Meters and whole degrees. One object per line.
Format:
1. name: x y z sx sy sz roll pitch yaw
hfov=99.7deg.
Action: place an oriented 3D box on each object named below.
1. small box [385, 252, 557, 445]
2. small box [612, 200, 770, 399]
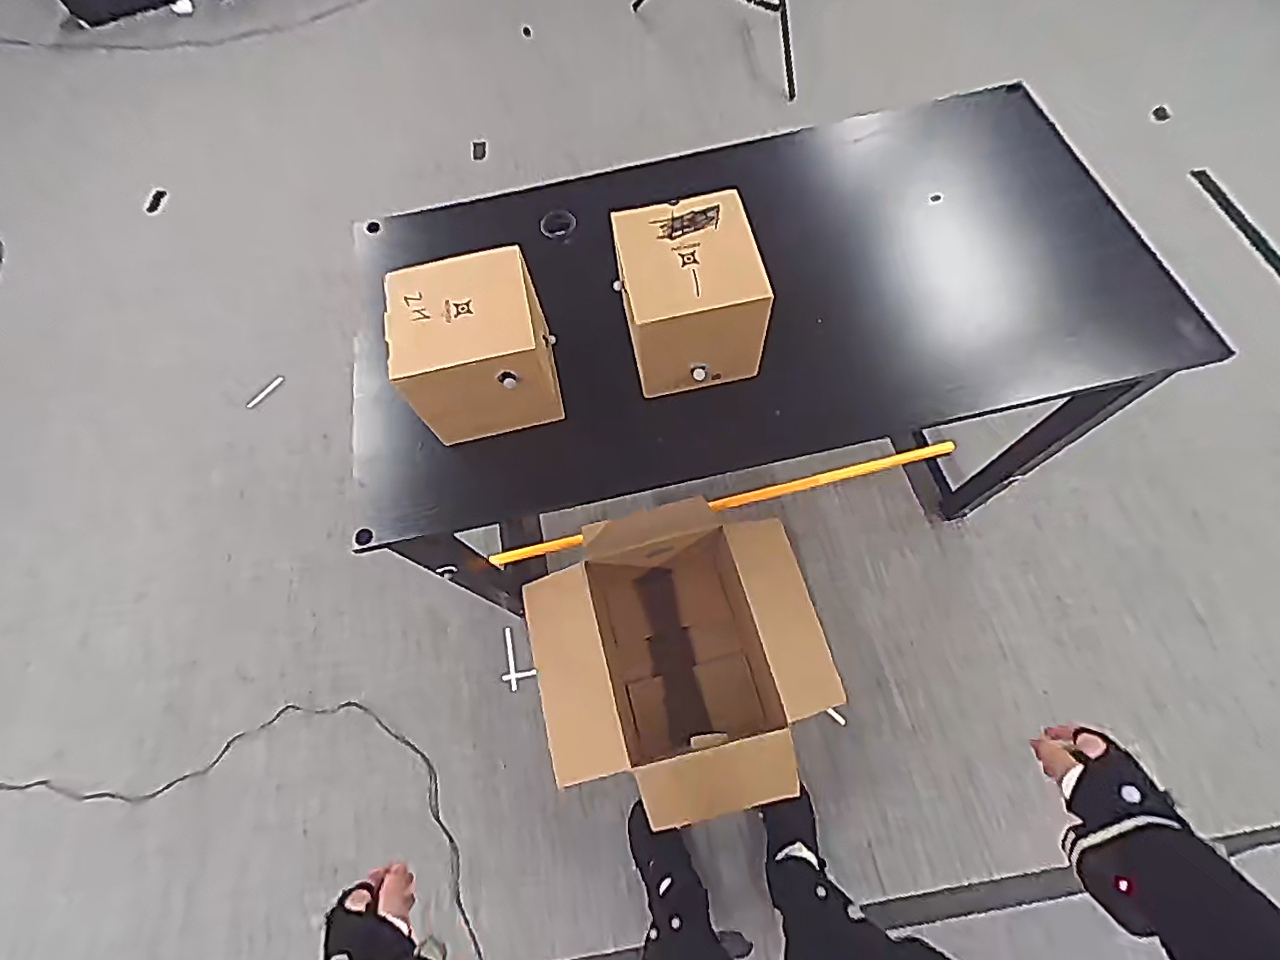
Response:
1. small box: -0.215 -0.168 0.725 0.179 0.176 0.168 -13 66 -1
2. small box: 0.062 -0.236 0.733 0.168 0.176 0.179 -12 67 0
